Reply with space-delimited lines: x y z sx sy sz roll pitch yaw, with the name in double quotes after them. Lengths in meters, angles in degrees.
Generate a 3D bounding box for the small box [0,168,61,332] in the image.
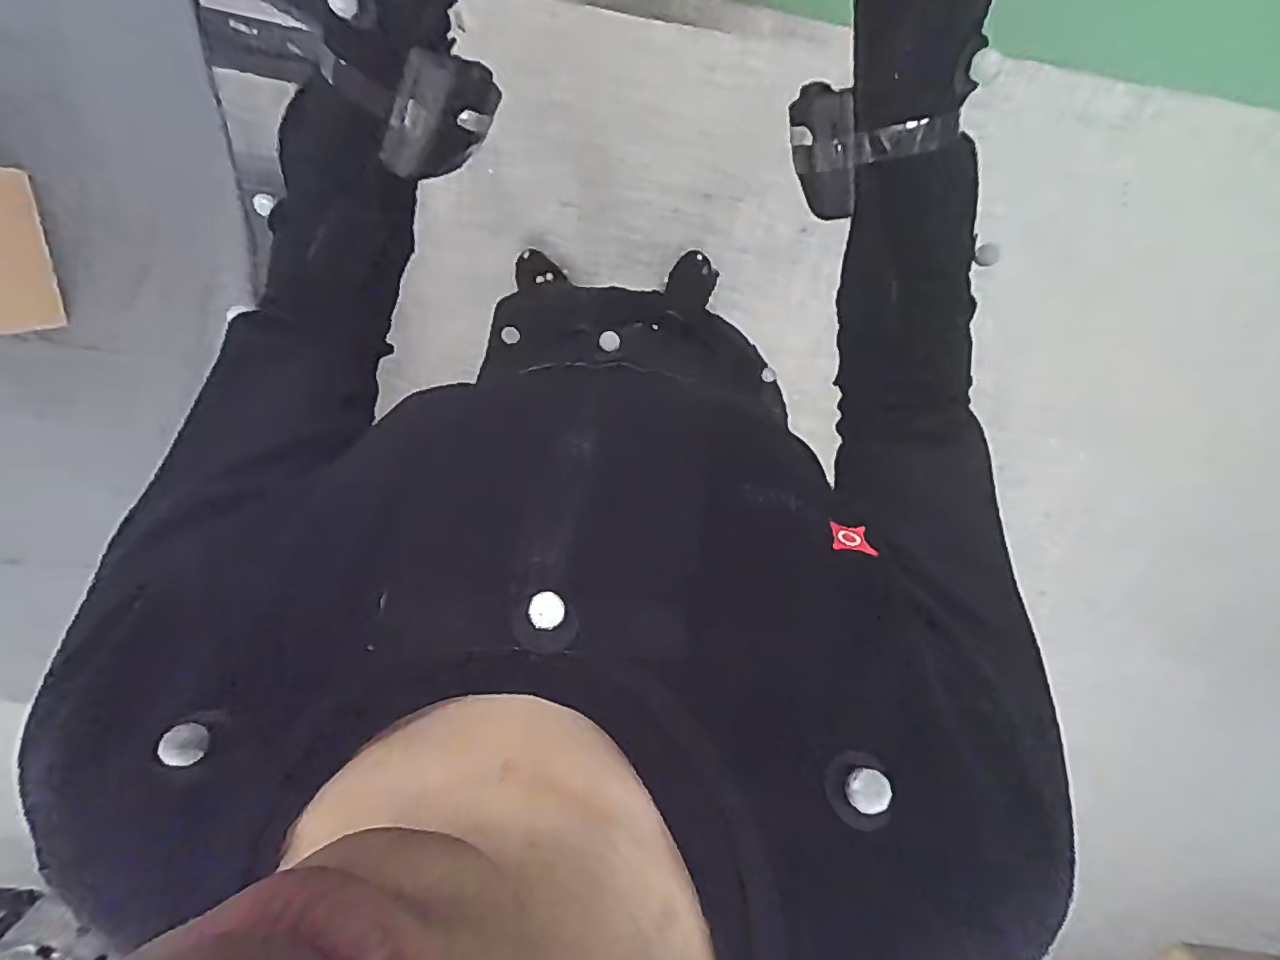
-0.801 -0.257 0.585 0.168 0.176 0.179 9 114 -1 "small box"
